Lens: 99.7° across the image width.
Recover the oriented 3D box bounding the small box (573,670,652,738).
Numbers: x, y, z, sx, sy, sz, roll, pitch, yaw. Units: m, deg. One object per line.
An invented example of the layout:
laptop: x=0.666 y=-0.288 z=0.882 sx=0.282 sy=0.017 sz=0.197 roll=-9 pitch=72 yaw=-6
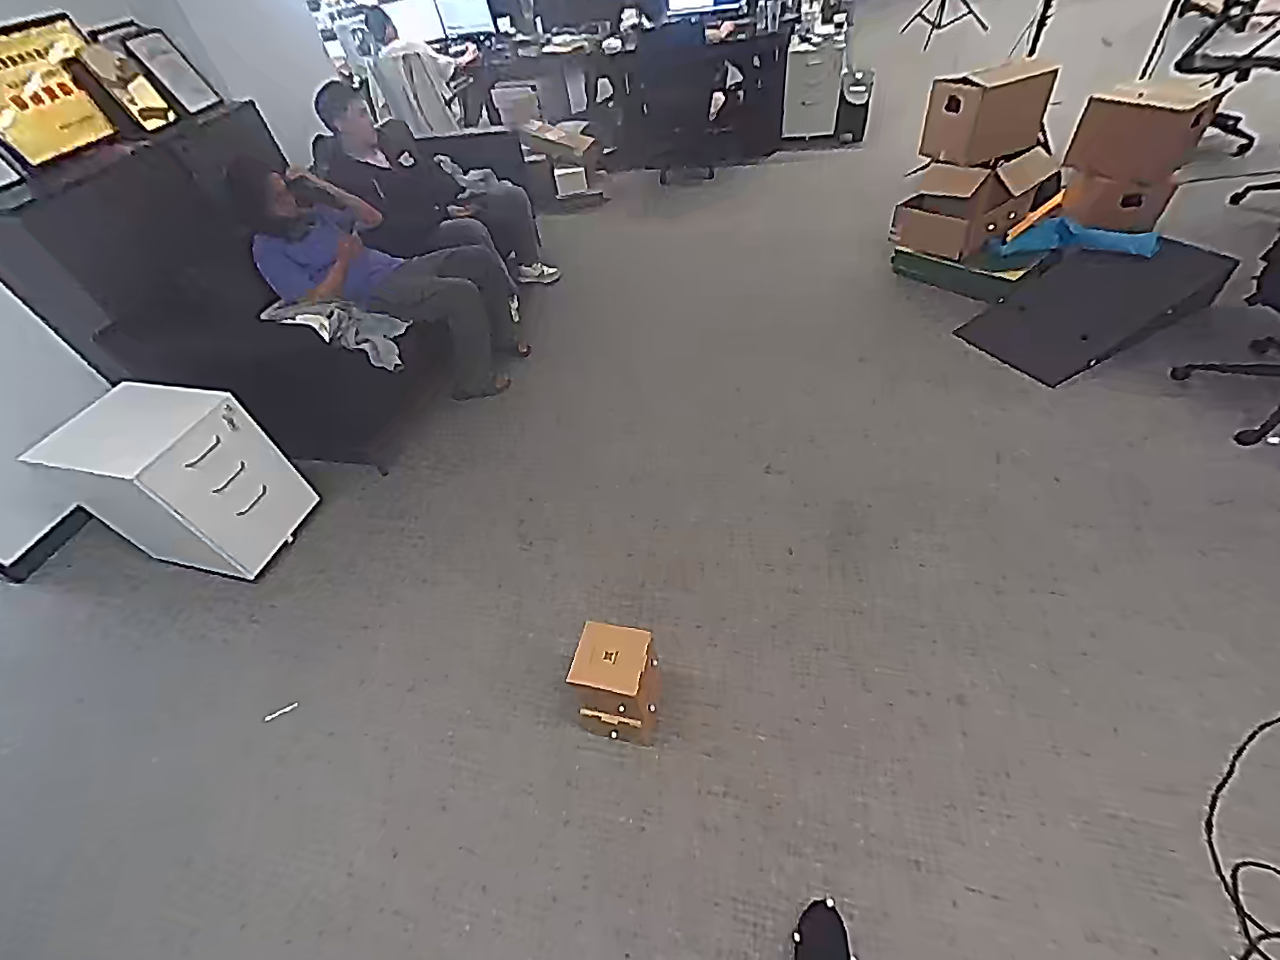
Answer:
small box: x=-0.068 y=0.592 z=1.495 sx=0.168 sy=0.176 sz=0.179 roll=4 pitch=49 yaw=13

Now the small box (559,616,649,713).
small box: x=-0.080 y=0.468 z=1.363 sx=0.179 sy=0.176 sz=0.168 roll=5 pitch=48 yaw=14
